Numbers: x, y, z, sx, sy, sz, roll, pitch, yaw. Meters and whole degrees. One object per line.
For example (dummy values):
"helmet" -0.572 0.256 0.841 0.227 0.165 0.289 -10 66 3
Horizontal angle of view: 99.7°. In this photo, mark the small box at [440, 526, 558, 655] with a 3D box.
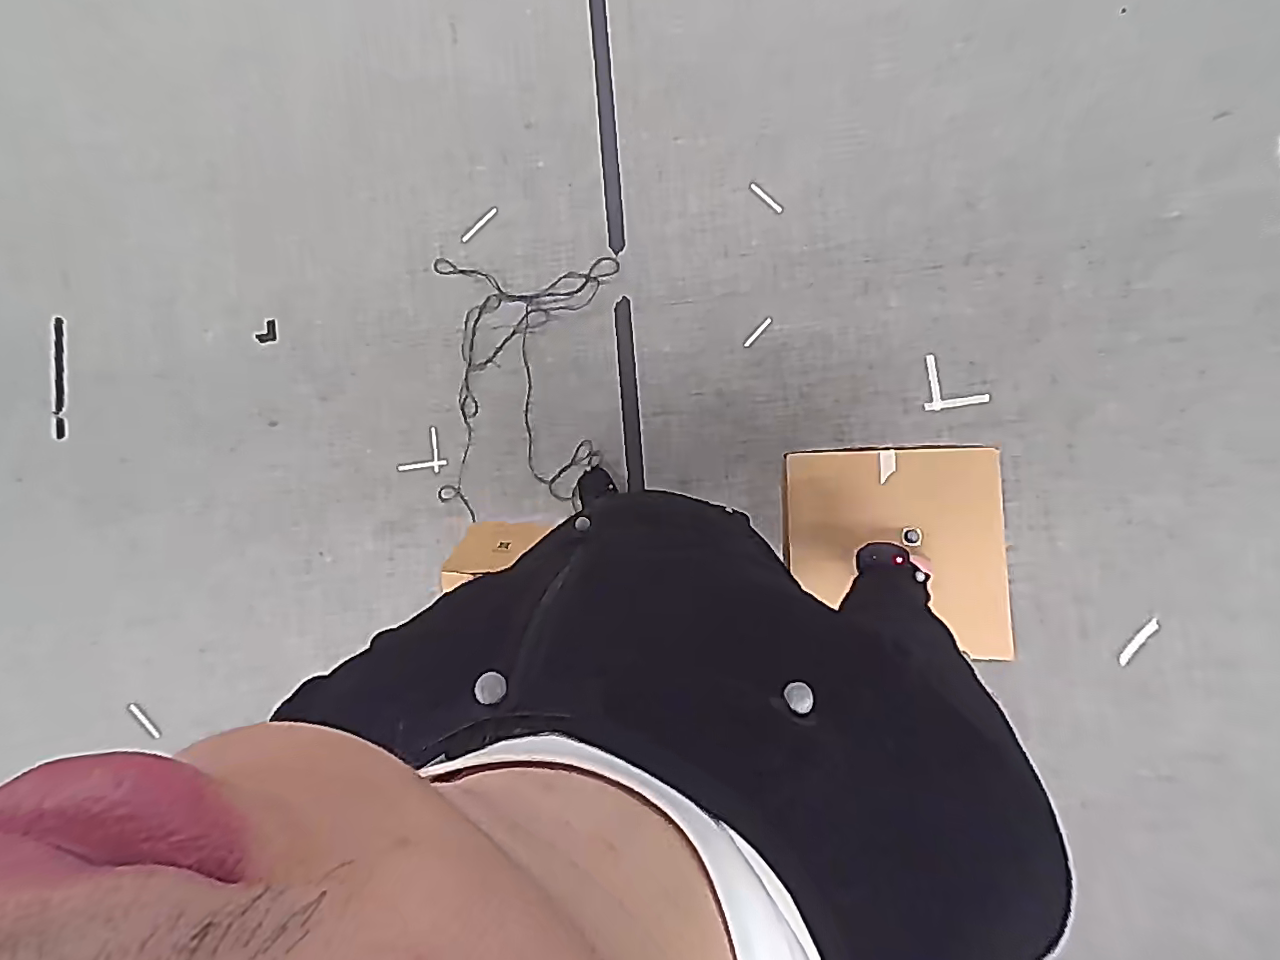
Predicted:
"small box" -0.248 0.202 1.000 0.168 0.179 0.176 4 112 2
